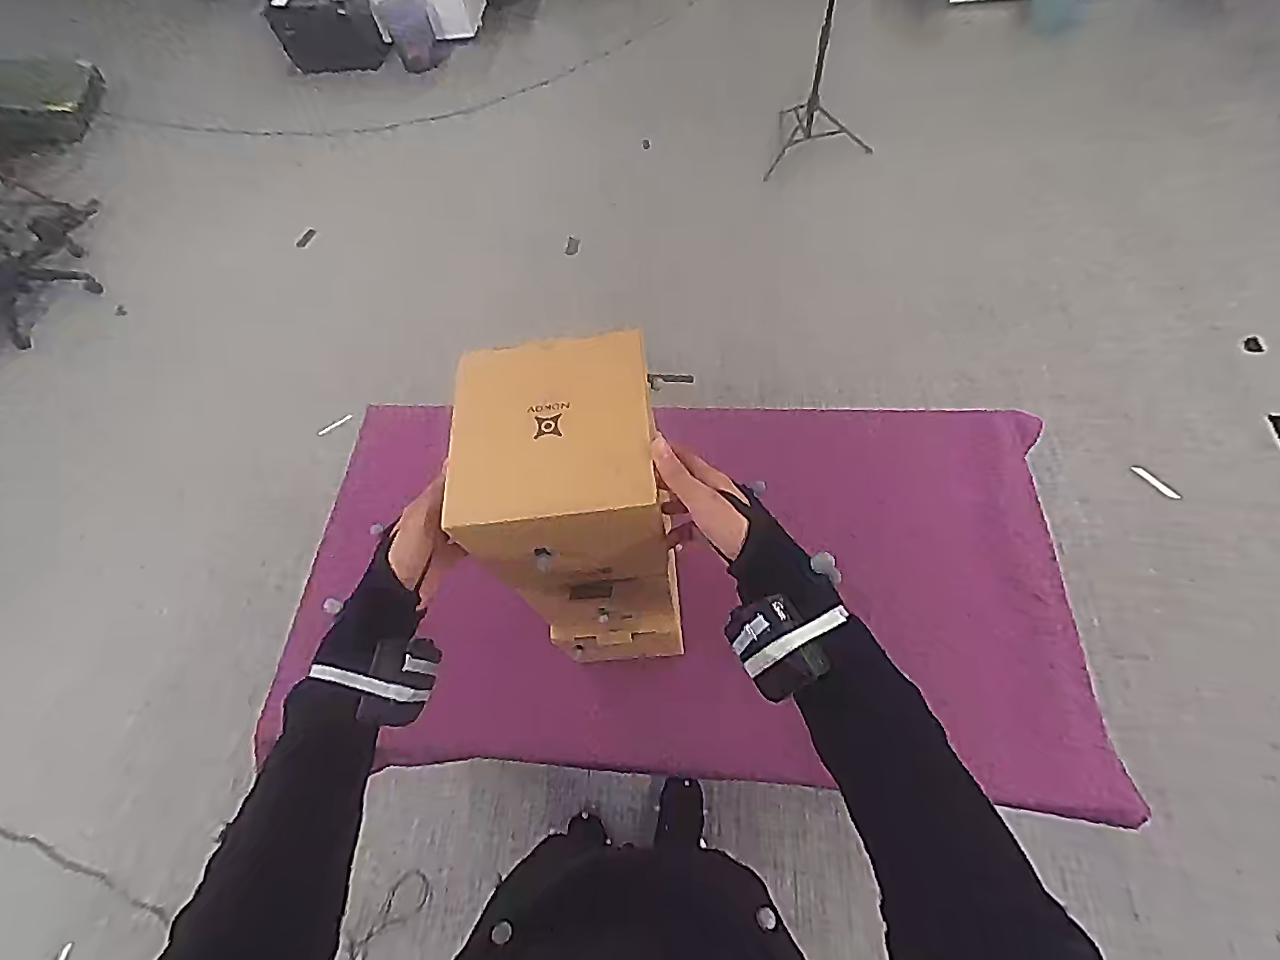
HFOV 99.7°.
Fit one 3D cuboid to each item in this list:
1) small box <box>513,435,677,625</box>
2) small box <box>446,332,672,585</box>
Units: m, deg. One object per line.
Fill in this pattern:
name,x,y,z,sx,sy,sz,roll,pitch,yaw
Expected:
small box,-0.043,0.066,0.653,0.168,0.176,0.179,-4,62,5
small box,-0.062,-0.008,0.509,0.168,0.176,0.179,-7,60,3
